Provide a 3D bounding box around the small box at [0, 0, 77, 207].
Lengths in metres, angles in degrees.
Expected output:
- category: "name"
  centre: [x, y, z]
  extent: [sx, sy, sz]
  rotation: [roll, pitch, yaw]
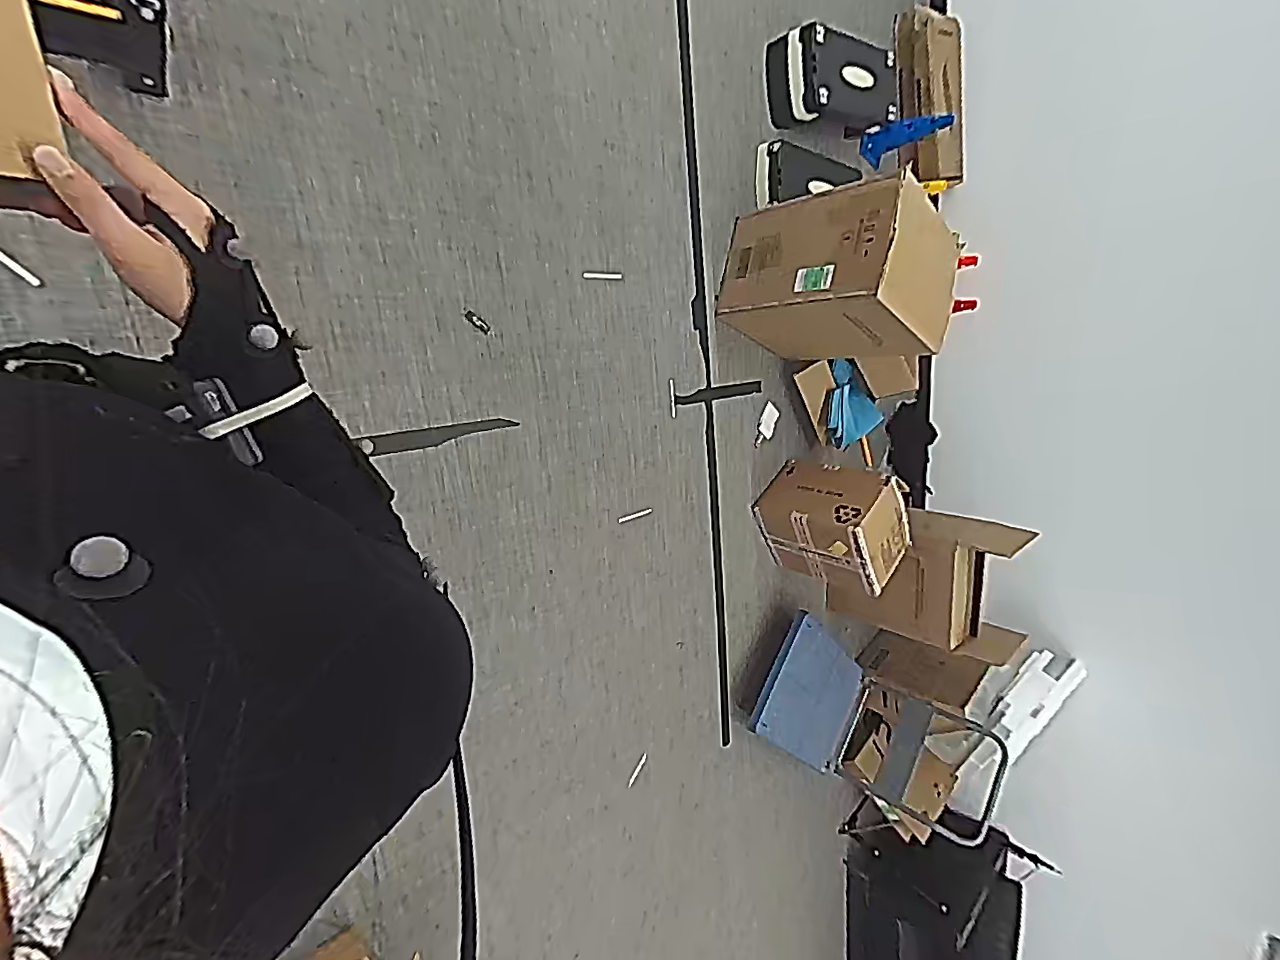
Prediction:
- category: "small box"
  centre: [-0.428, -0.242, 0.269]
  extent: [0.179, 0.176, 0.168]
  rotation: [-17, 116, -46]
